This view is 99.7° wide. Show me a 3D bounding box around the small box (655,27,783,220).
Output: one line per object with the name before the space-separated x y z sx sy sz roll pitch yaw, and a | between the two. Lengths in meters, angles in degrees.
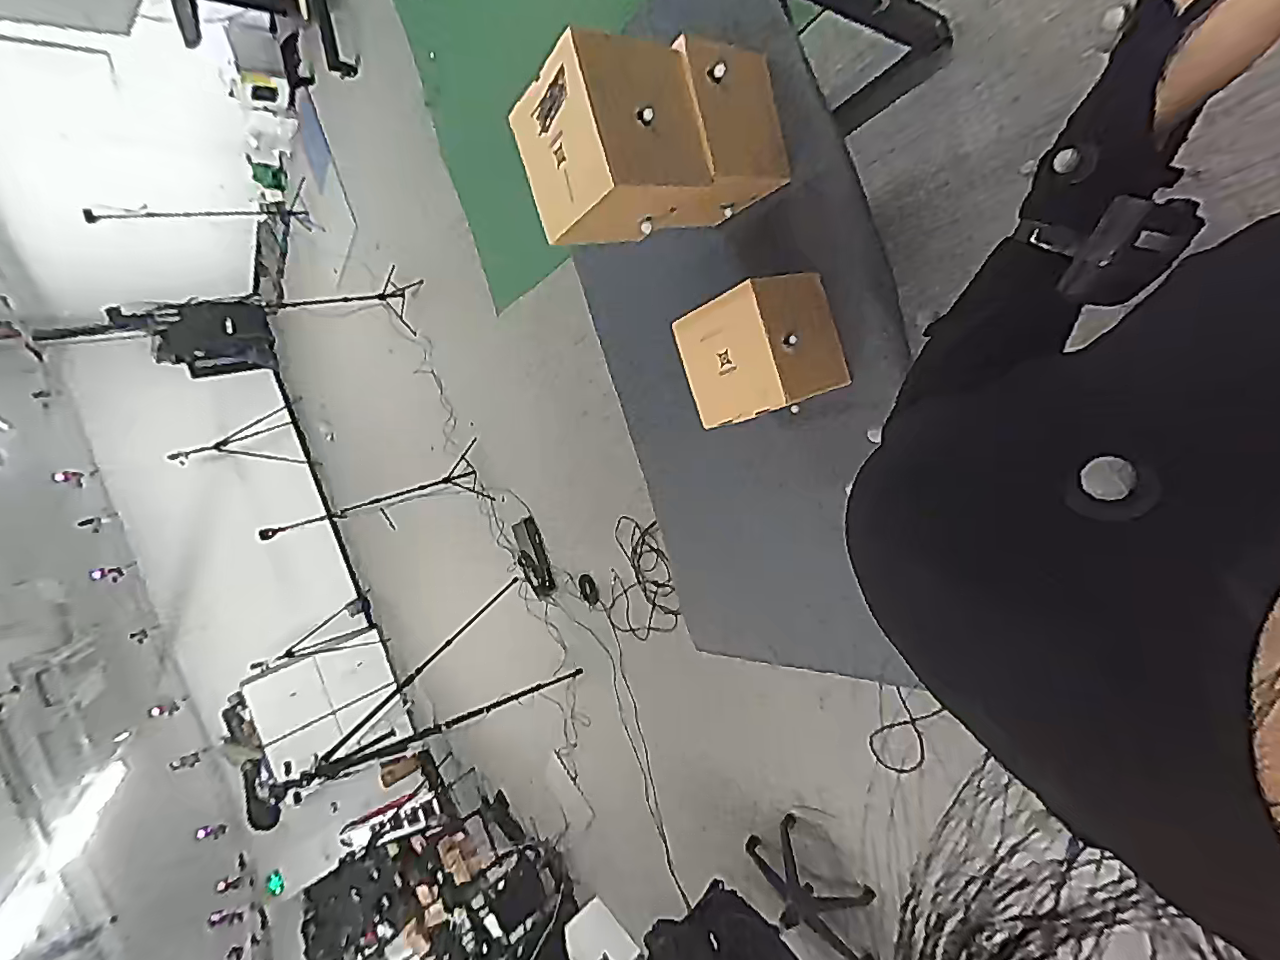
small box | 0.080 -0.494 0.783 0.168 0.176 0.179 -5 105 53

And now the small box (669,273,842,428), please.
small box | 0.178 -0.195 0.817 0.168 0.176 0.179 -14 96 52

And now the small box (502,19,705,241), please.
small box | -0.045 -0.430 0.697 0.168 0.176 0.179 -7 104 53
